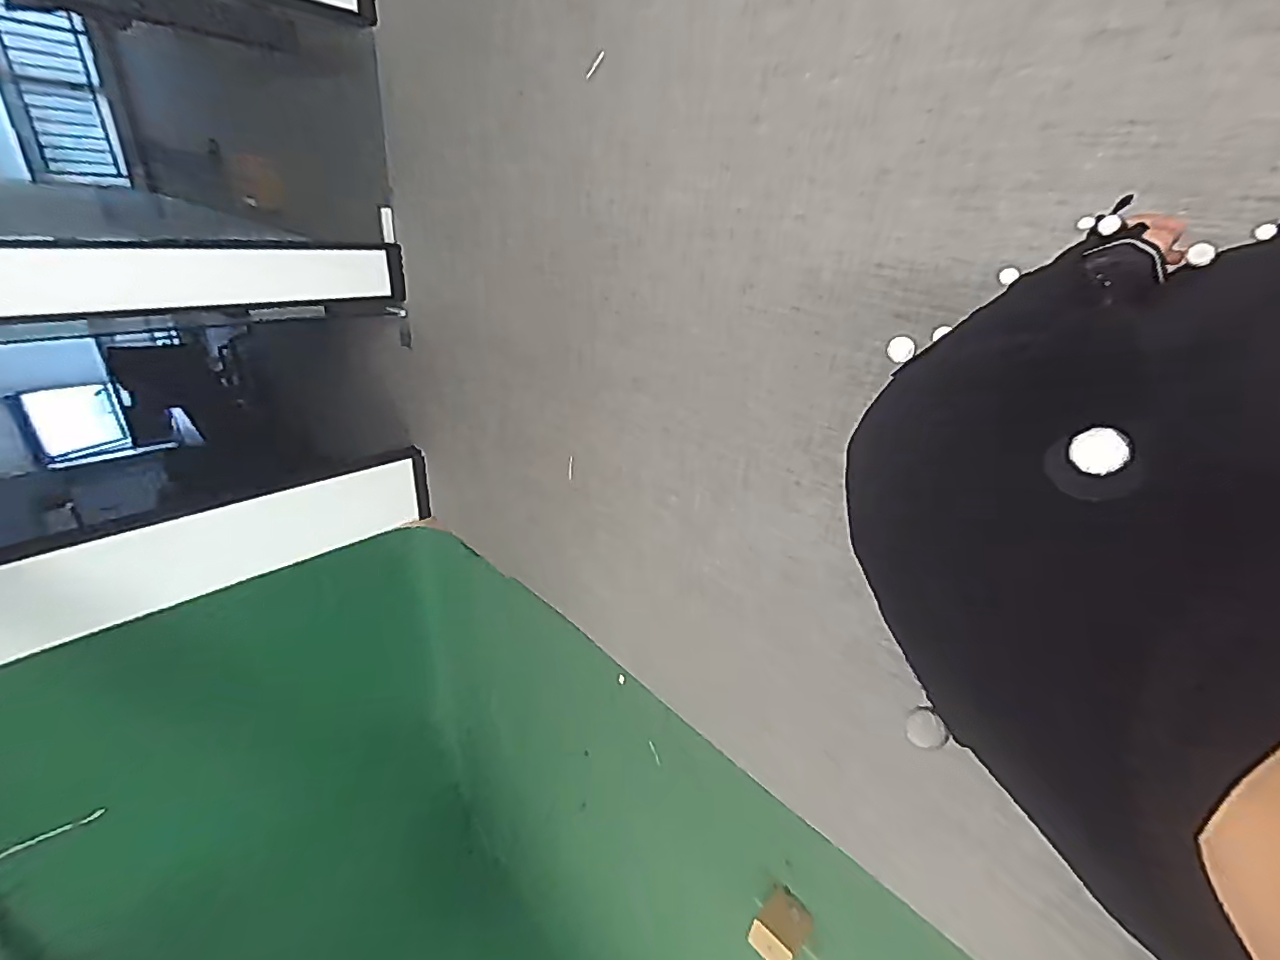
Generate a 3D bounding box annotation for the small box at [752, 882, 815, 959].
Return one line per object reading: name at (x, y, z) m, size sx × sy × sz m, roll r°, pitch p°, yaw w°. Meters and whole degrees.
small box at (0.563, 1.736, 2.110) m, size 0.168 × 0.176 × 0.179 m, roll 26°, pitch 123°, yaw 35°
